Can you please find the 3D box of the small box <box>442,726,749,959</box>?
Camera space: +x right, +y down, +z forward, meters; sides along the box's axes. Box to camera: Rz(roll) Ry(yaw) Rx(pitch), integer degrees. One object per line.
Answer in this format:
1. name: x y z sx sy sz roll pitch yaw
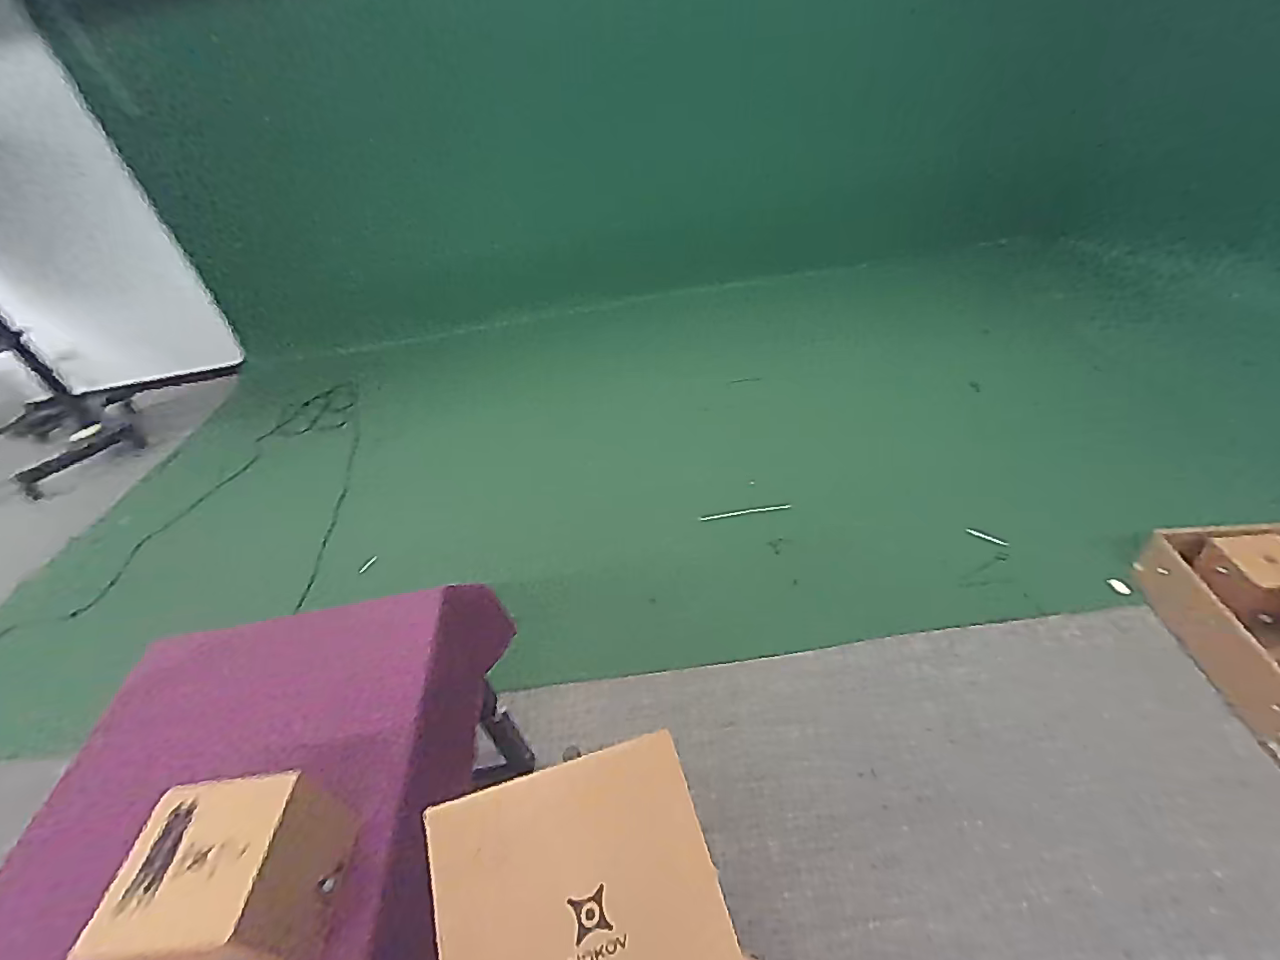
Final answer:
1. small box: -0.043 0.302 0.385 0.168 0.176 0.179 -8 60 -21
